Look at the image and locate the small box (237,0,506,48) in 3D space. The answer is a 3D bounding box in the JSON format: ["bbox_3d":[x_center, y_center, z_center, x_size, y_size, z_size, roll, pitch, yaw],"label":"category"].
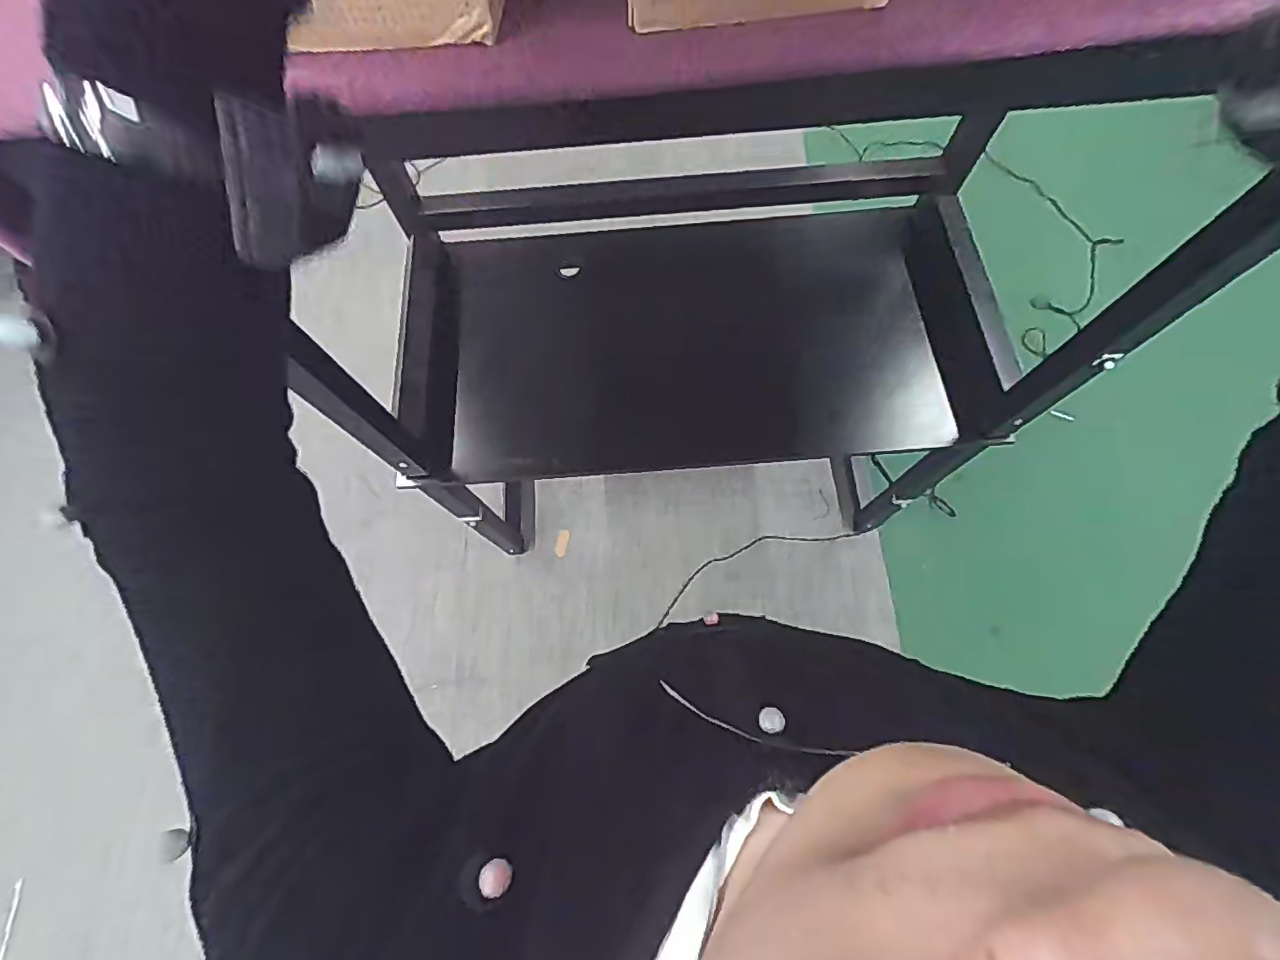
[{"bbox_3d":[-0.186,-0.407,0.335,0.179,0.176,0.168,1,69,2],"label":"small box"}]
